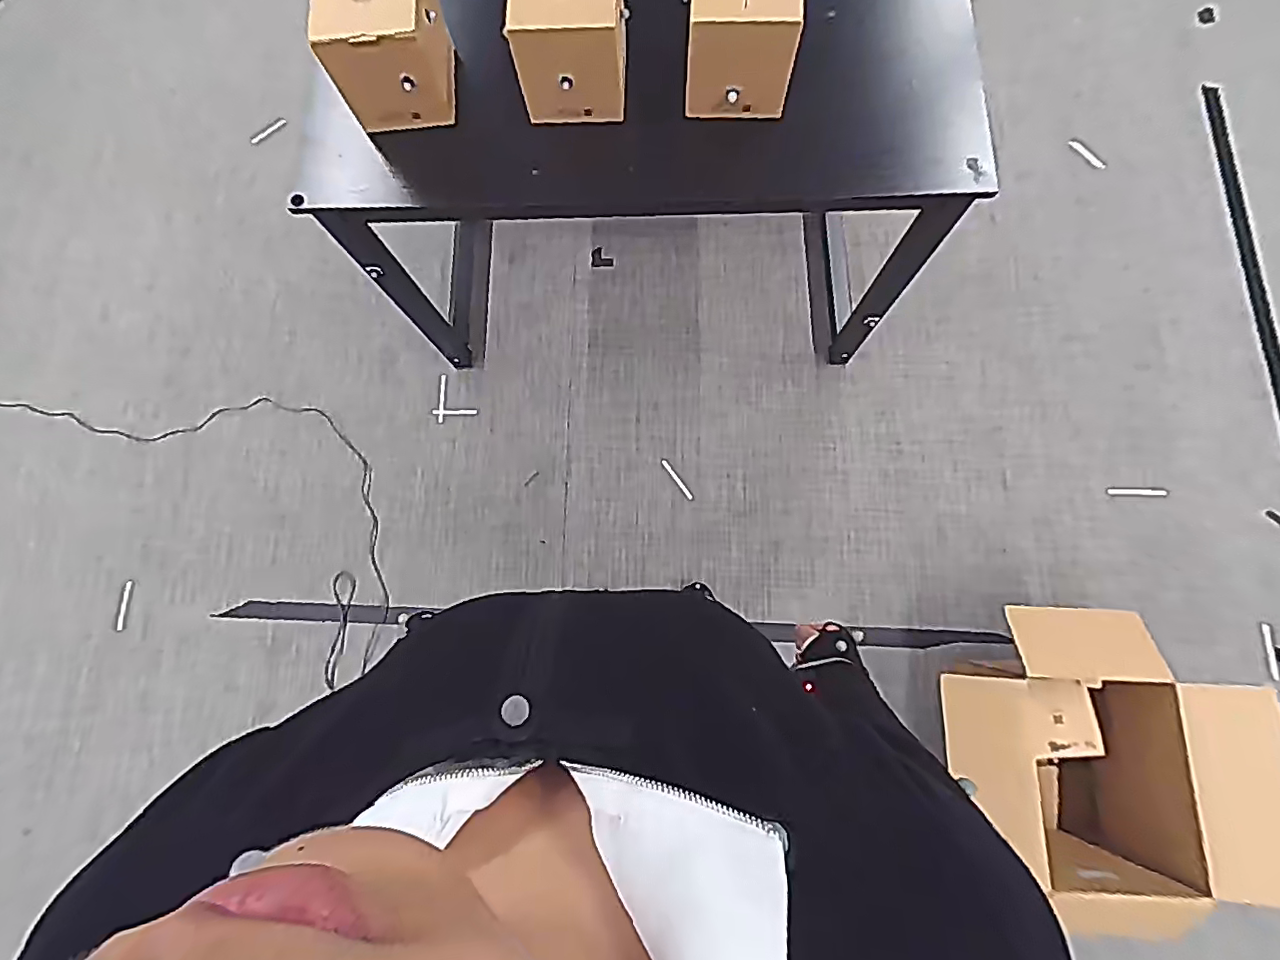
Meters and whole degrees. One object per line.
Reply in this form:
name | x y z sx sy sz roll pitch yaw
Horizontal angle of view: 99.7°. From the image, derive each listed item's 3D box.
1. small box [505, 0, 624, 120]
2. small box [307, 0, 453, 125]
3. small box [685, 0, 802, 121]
small box | -0.114 -0.730 0.890 0.168 0.176 0.179 1 78 2
small box | -0.421 -0.728 0.904 0.168 0.176 0.179 -5 77 0
small box | 0.161 -0.730 0.880 0.168 0.176 0.179 3 79 3
